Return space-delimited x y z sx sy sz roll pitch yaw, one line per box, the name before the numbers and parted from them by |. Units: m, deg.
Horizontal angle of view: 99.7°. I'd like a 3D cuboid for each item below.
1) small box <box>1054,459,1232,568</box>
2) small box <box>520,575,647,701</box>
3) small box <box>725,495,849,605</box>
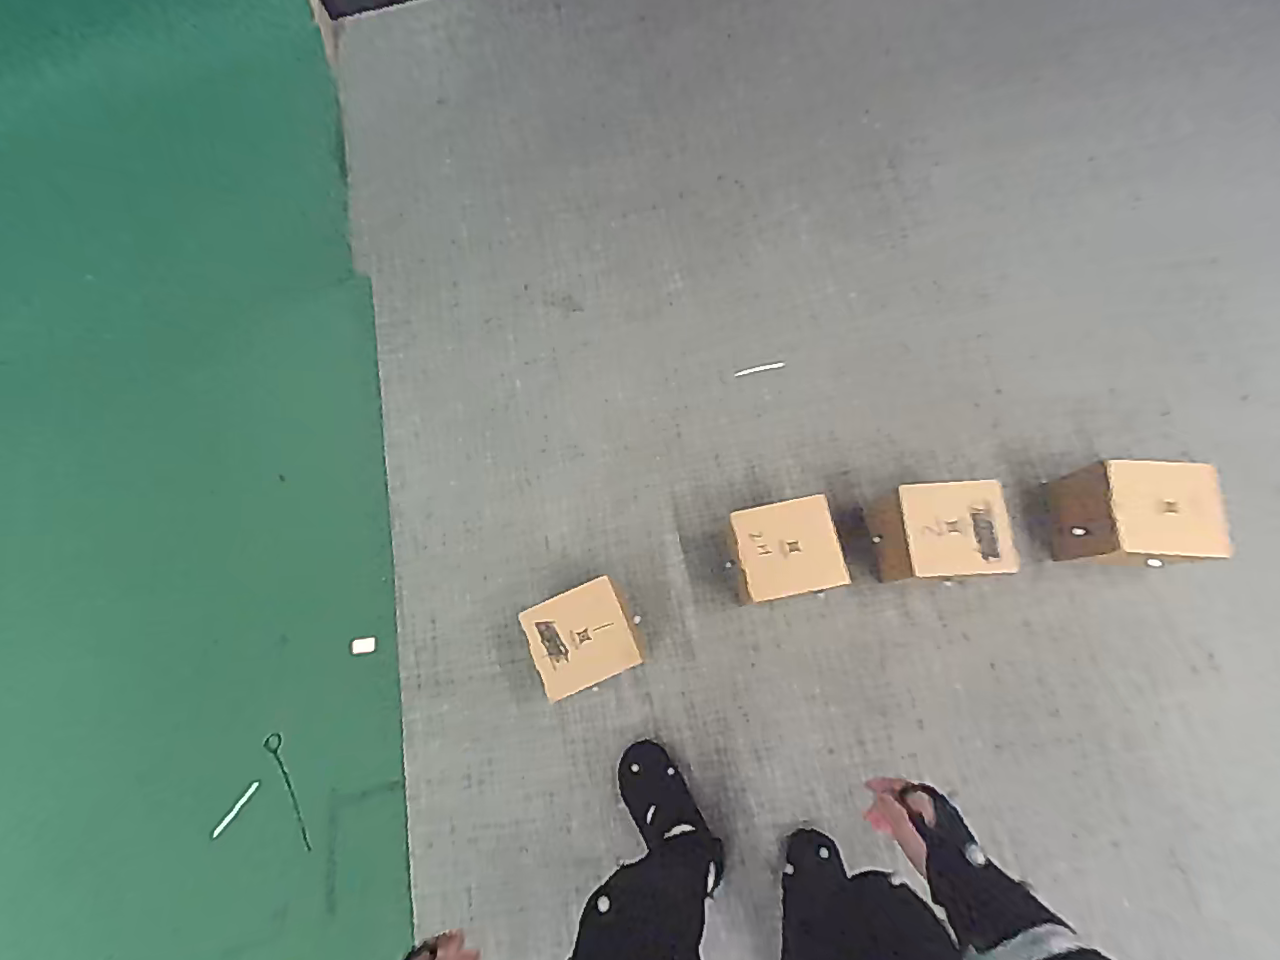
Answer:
small box | 0.904 0.068 0.997 0.179 0.176 0.168 4 76 5
small box | -0.098 0.295 1.018 0.179 0.176 0.168 -23 74 -3
small box | 0.269 0.139 1.029 0.179 0.176 0.168 -12 74 2
